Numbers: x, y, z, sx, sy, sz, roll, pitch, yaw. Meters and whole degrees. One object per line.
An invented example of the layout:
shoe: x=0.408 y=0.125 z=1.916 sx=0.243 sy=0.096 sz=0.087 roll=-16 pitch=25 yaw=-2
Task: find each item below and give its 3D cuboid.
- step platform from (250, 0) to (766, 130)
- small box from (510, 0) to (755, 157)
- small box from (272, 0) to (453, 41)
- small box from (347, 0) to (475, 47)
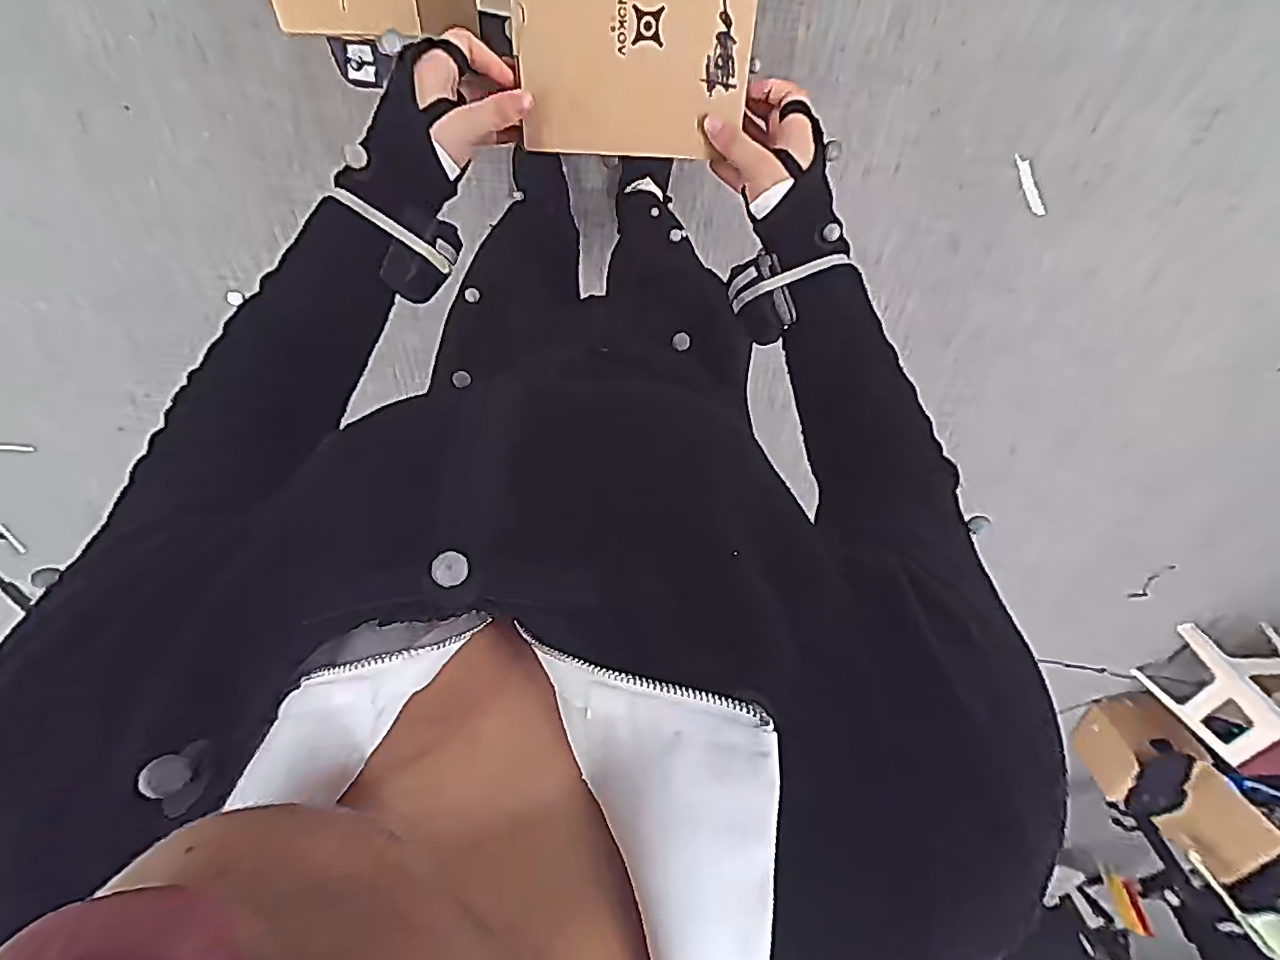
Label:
step platform: x=-0.176 y=-0.674 z=0.783 sx=0.684 sy=0.204 sz=0.286 roll=1 pitch=128 yaw=-3
small box: x=-0.009 y=-0.373 z=0.452 sx=0.179 sy=0.176 sz=0.168 roll=0 pitch=124 yaw=-4
small box: x=-0.336 y=-0.638 z=0.641 sx=0.168 sy=0.176 sz=0.179 roll=0 pitch=129 yaw=-2
small box: x=-0.338 y=-0.736 z=0.772 sx=0.168 sy=0.176 sz=0.179 roll=1 pitch=129 yaw=-3
